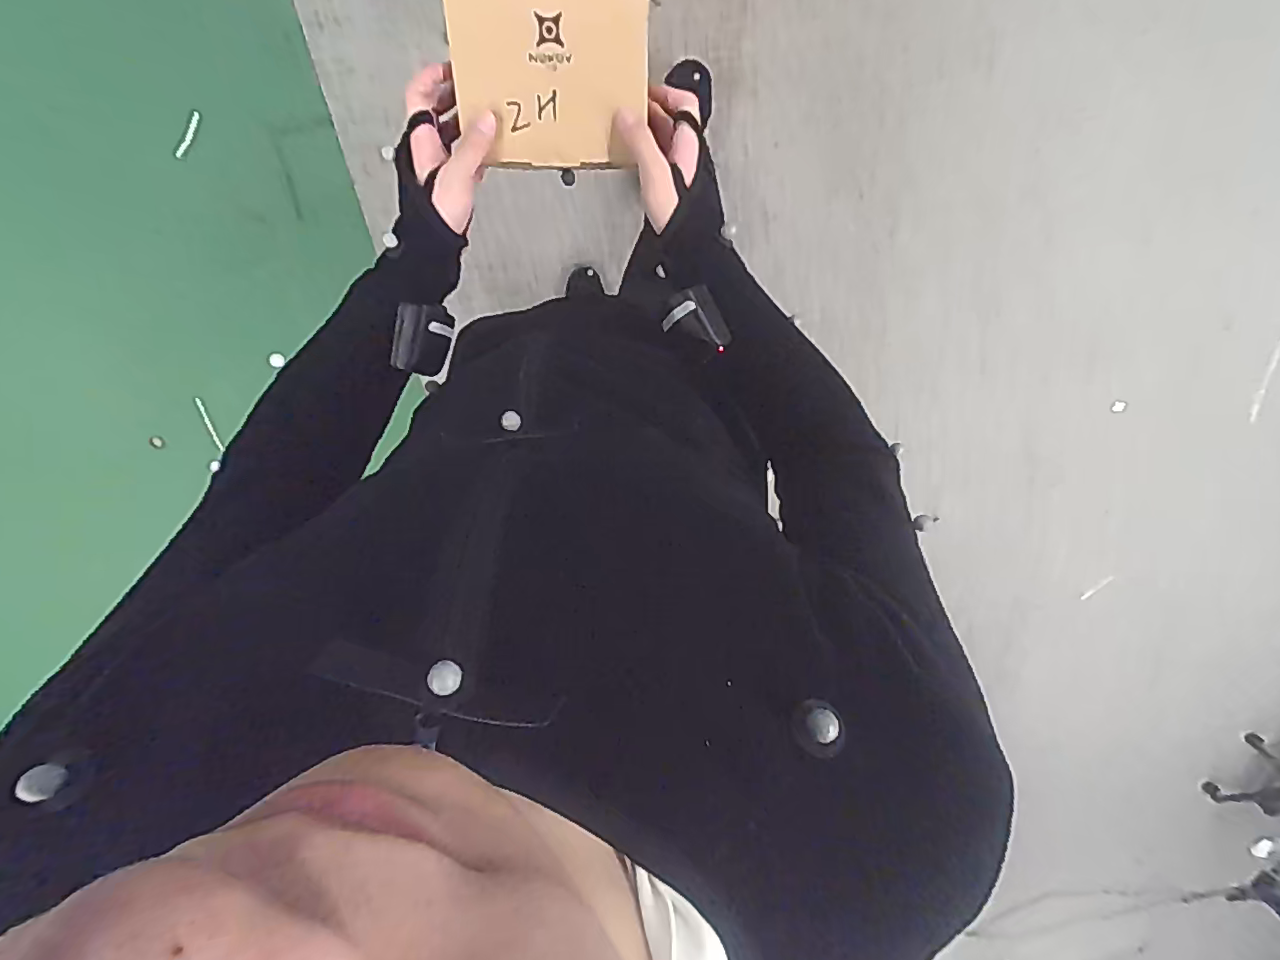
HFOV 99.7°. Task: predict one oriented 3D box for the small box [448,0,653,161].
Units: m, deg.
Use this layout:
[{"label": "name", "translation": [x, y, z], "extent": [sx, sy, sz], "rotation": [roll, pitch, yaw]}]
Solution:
[{"label": "small box", "translation": [-0.074, -0.405, 0.506], "extent": [0.168, 0.176, 0.179], "rotation": [0, 119, -1]}]
